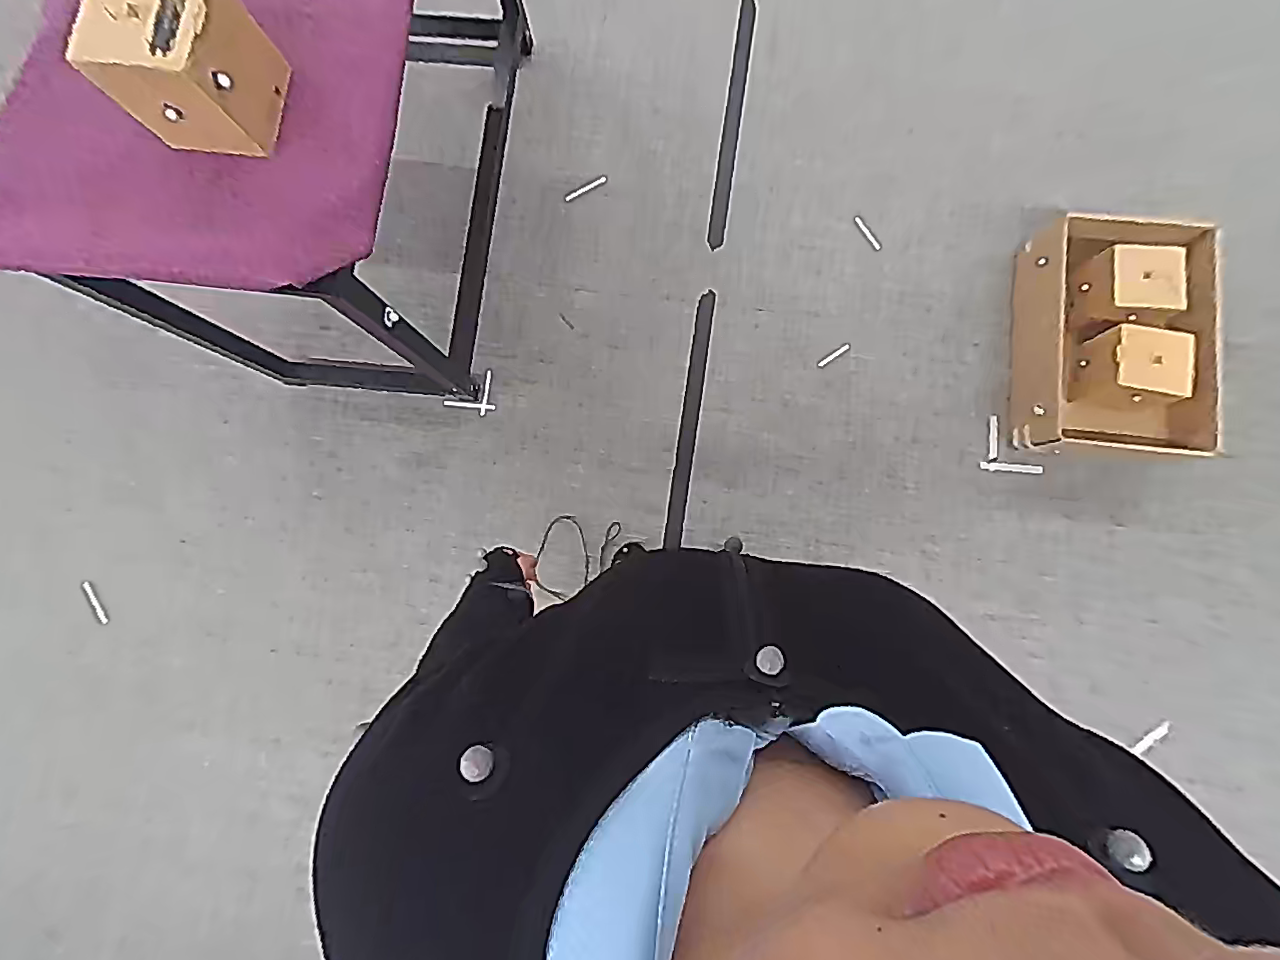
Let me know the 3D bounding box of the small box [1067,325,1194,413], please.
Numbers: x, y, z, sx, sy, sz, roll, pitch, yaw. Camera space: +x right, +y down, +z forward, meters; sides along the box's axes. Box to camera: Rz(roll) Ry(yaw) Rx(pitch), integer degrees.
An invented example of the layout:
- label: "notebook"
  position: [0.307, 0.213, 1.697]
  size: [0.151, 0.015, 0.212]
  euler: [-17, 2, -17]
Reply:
- label: "small box"
  position: [1.280, -0.284, 1.419]
  size: [0.179, 0.176, 0.168]
  euler: [12, 83, 3]

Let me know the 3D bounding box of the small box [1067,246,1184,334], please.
- label: "small box"
  position: [1.285, -0.500, 1.442]
  size: [0.179, 0.176, 0.168]
  euler: [5, 85, 2]
